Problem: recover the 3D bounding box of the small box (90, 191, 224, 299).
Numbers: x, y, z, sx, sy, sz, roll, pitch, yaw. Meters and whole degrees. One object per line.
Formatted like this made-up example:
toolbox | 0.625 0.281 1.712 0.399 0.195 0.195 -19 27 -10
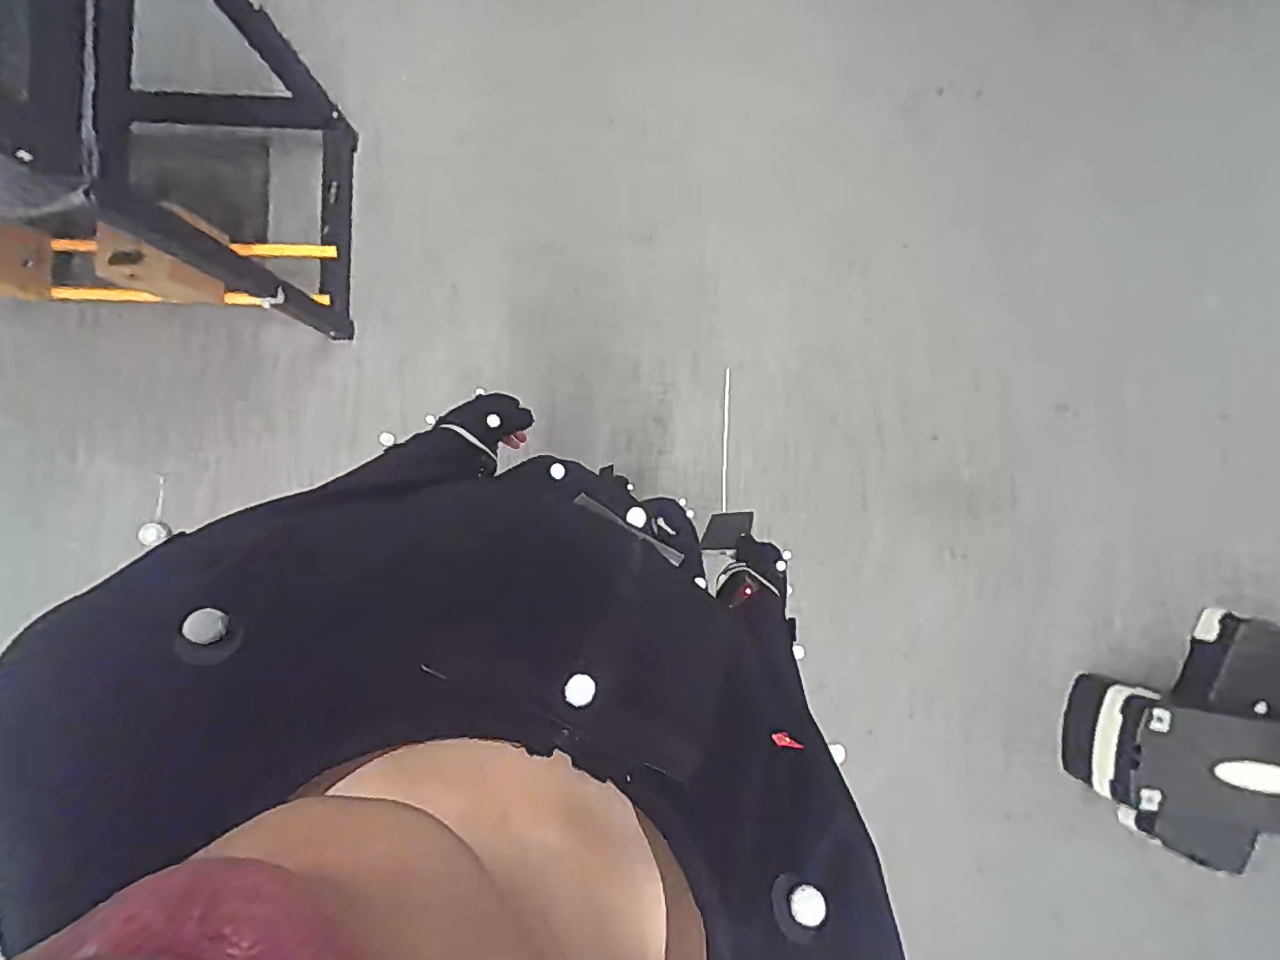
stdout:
small box | -1.118 -0.539 1.264 0.168 0.176 0.179 5 89 -2
